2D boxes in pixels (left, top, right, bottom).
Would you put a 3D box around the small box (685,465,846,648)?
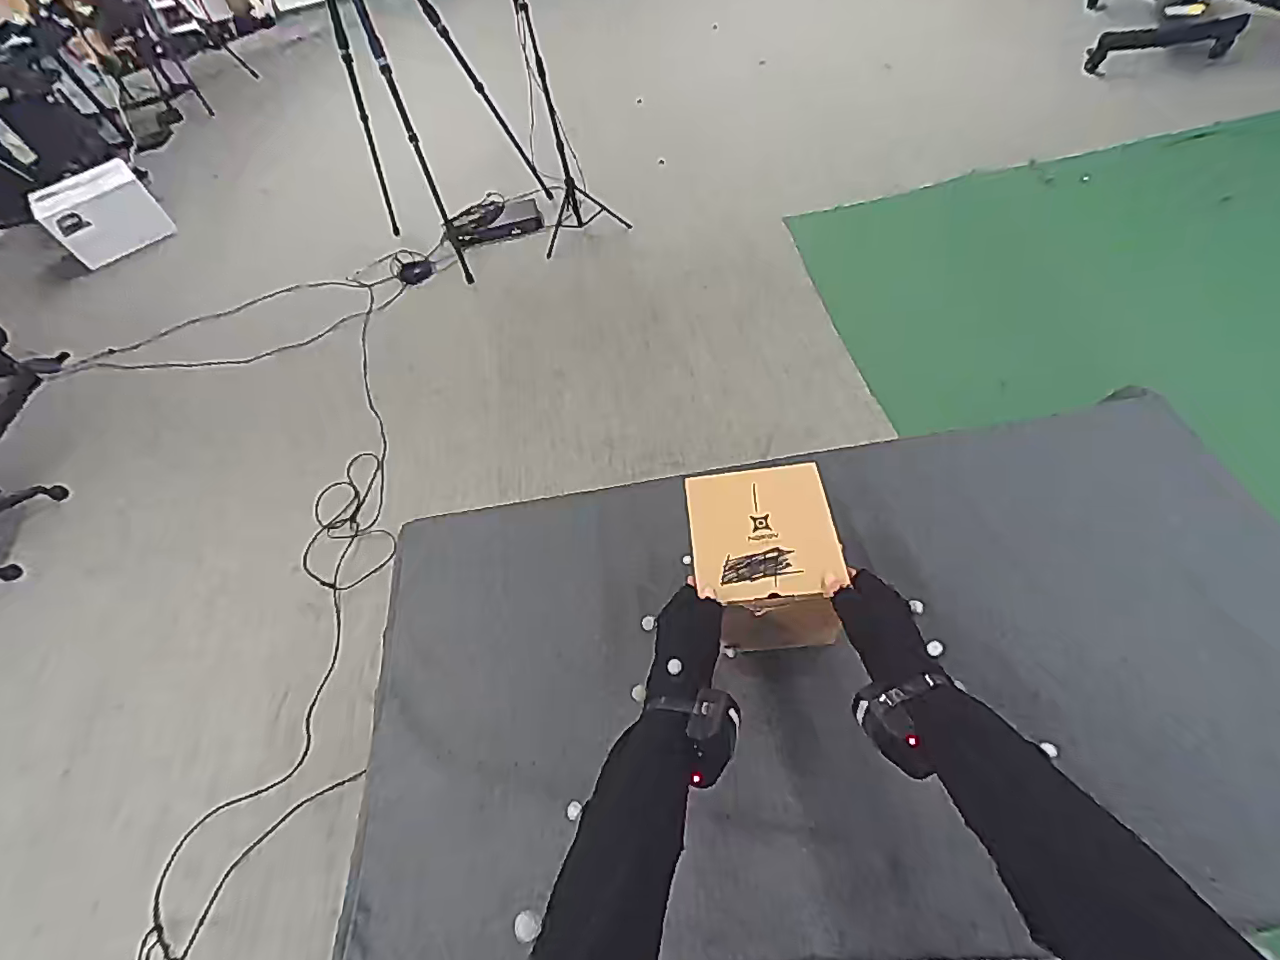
[{"bbox_3d":[0.151,0.106,0.694,0.168,0.176,0.179,-7,54,6],"label":"small box"}]
